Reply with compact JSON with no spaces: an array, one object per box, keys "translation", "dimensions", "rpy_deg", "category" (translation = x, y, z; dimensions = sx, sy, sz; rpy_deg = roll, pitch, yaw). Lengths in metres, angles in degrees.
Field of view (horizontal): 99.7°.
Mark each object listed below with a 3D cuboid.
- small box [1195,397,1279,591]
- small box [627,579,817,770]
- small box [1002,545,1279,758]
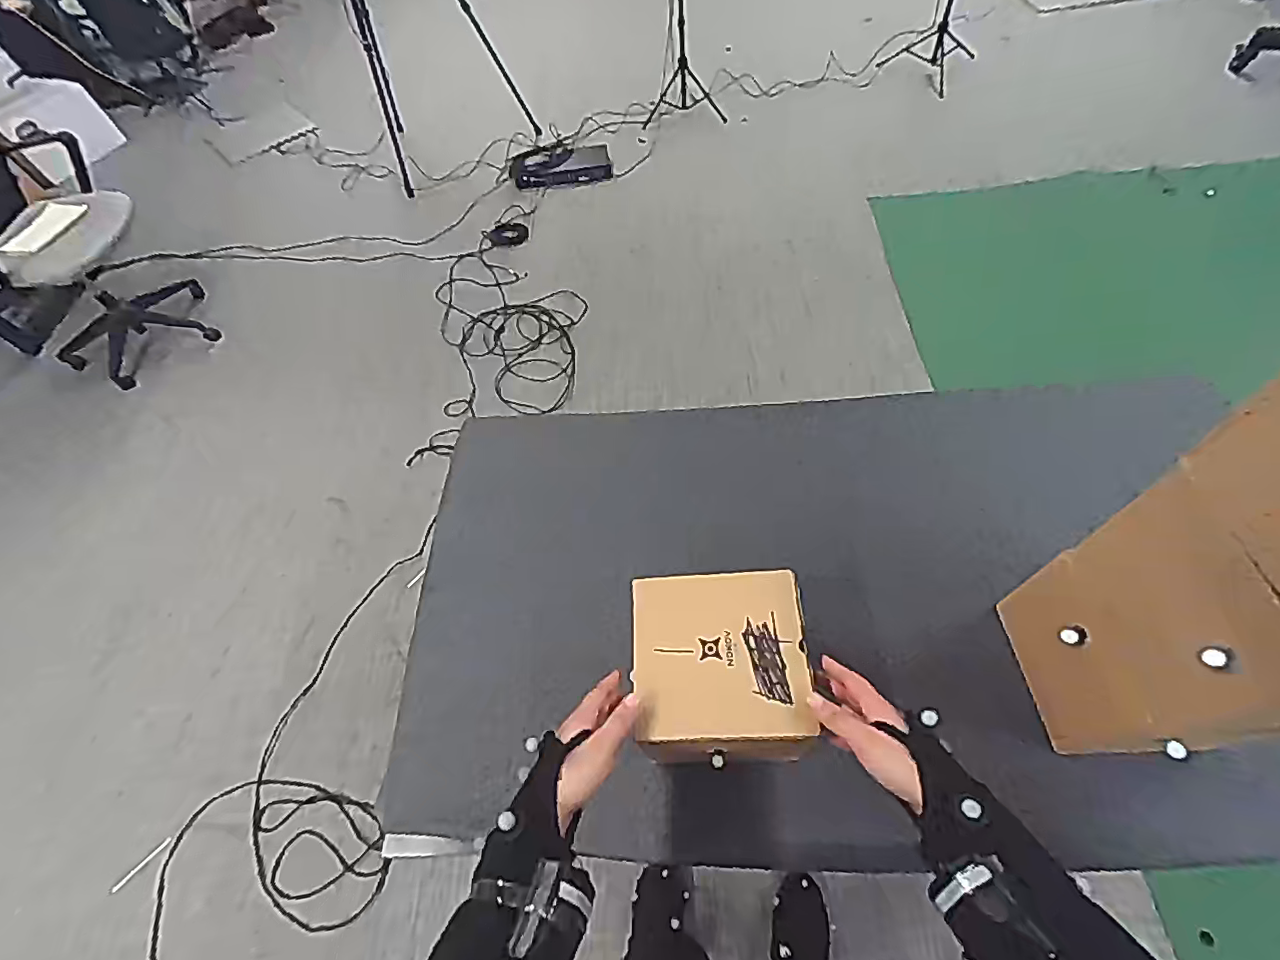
[{"translation":[0.486,0.006,0.293],"dimensions":[0.168,0.176,0.179],"rpy_deg":[-8,55,3],"category":"small box"},{"translation":[0.083,0.220,0.601],"dimensions":[0.179,0.176,0.168],"rpy_deg":[-4,56,6],"category":"small box"},{"translation":[0.525,0.186,0.564],"dimensions":[0.168,0.176,0.179],"rpy_deg":[-5,56,5],"category":"small box"}]
